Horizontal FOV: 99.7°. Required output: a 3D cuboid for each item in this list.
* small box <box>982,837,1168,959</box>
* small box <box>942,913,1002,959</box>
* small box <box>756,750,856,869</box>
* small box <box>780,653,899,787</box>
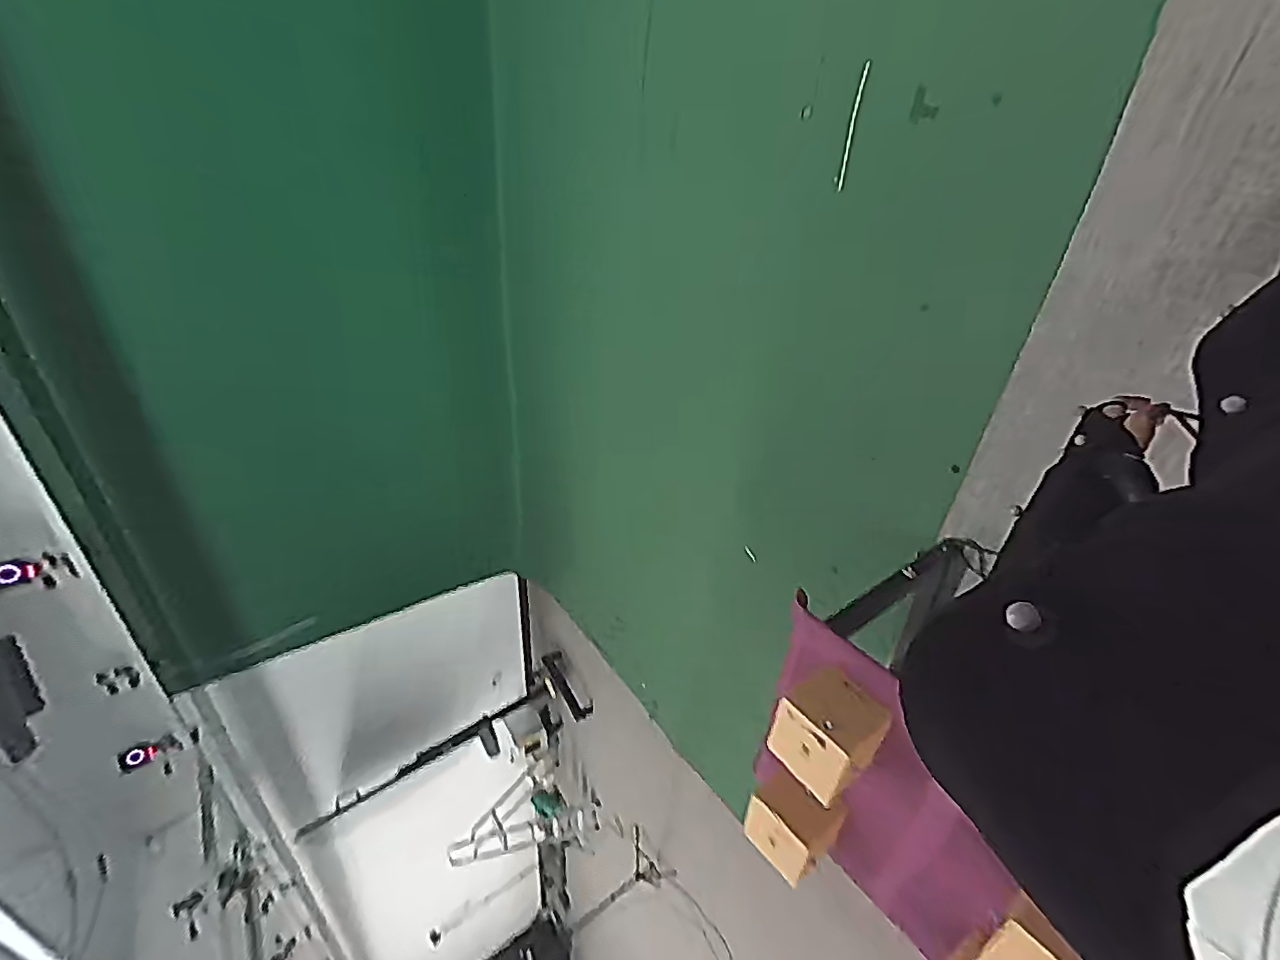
[{"bbox_3d":[0.718,0.751,0.897,0.168,0.176,0.179,36,135,42],"label":"small box"},{"bbox_3d":[0.696,1.024,1.073,0.168,0.176,0.179,39,134,42],"label":"small box"},{"bbox_3d":[0.424,0.829,1.383,0.168,0.176,0.179,33,131,42],"label":"small box"},{"bbox_3d":[0.441,0.525,1.200,0.168,0.176,0.179,36,134,41],"label":"small box"}]
